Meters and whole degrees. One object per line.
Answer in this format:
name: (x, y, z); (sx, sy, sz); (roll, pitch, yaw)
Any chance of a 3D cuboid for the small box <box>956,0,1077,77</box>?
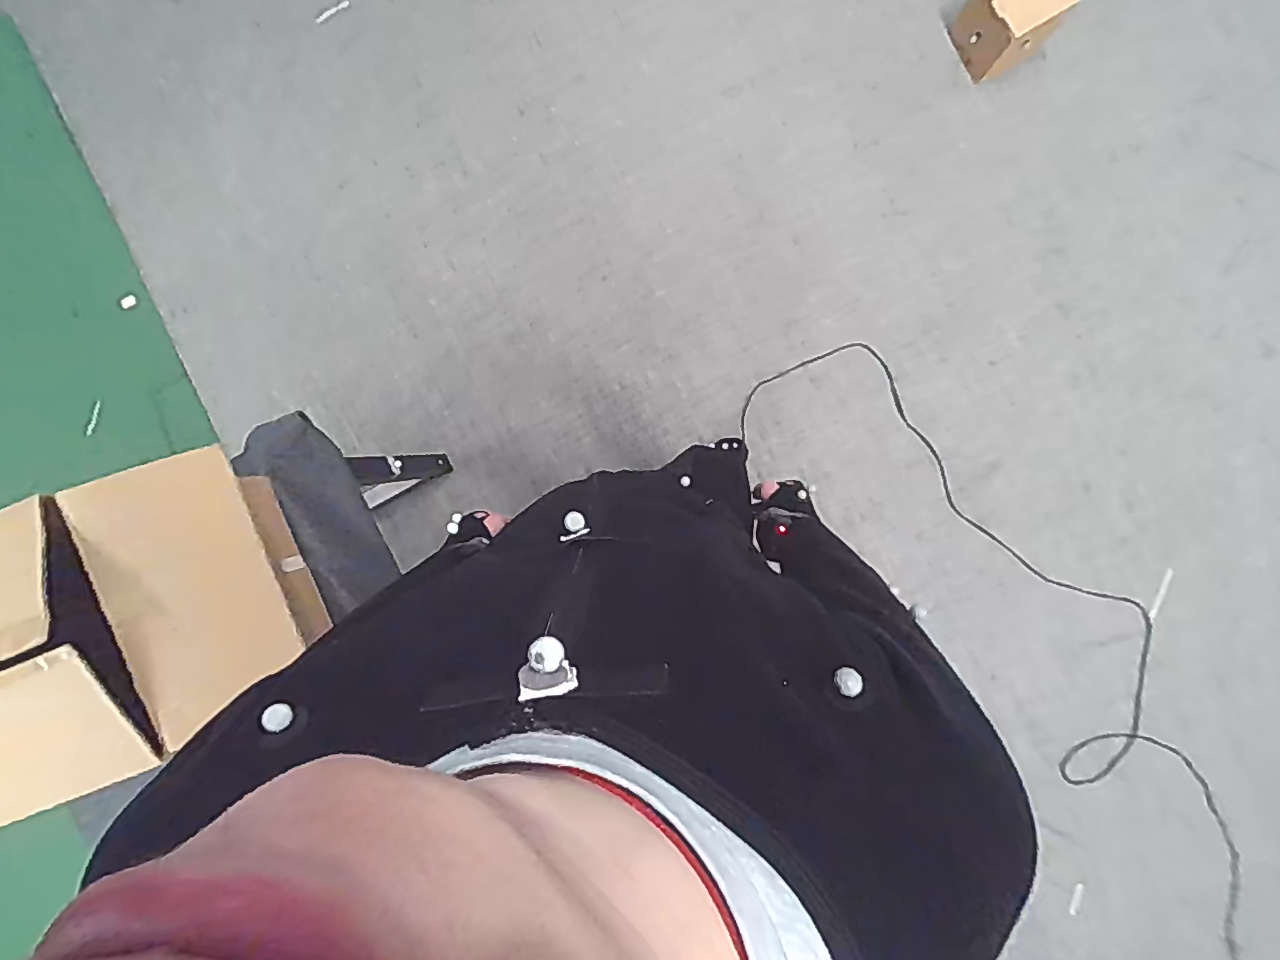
small box: (0.901, -1.135, 1.305); (0.179, 0.176, 0.168); (-28, 92, 7)
